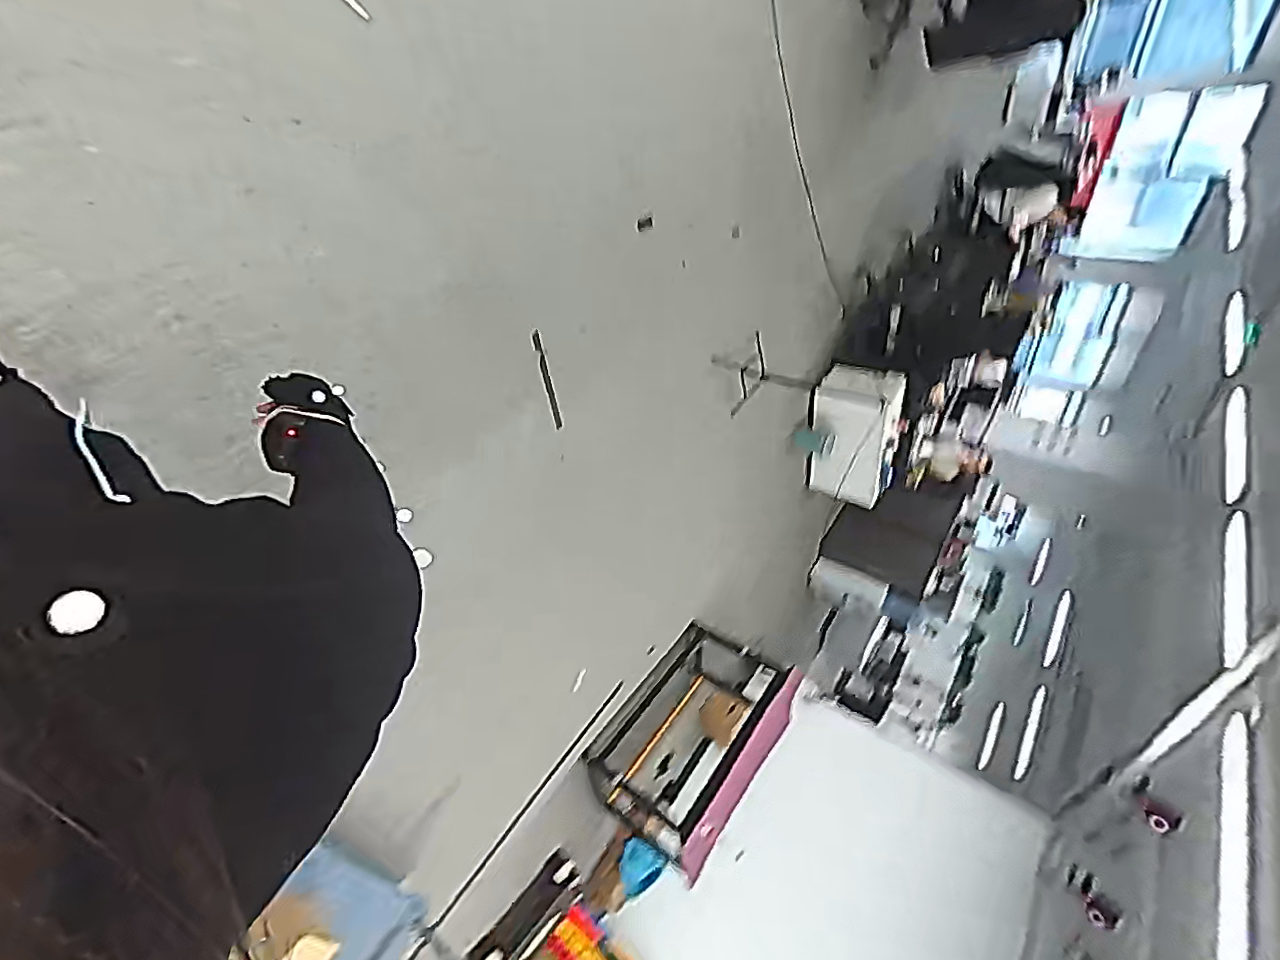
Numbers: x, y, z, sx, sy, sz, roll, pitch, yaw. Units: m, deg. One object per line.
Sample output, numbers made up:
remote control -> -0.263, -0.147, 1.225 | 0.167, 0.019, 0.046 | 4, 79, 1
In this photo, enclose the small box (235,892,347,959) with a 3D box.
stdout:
small box -> -0.962, 1.285, 1.490 | 0.168, 0.176, 0.179 | -46, 141, -31
